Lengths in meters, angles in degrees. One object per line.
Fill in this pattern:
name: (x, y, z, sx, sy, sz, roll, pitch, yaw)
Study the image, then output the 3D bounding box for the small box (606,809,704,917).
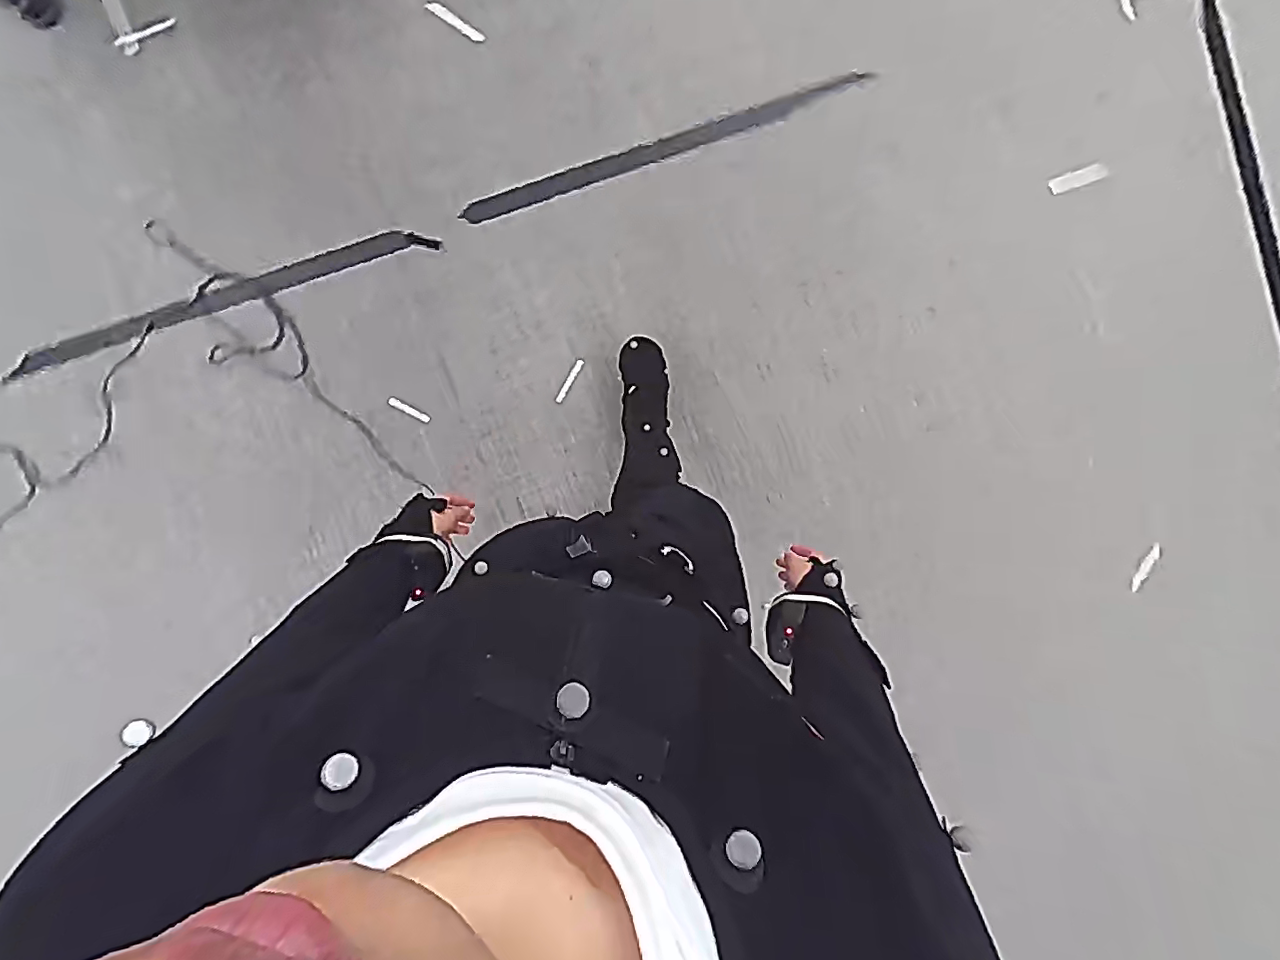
small box: (0.032, 0.855, 1.154, 0.168, 0.176, 0.179, -18, 95, -2)

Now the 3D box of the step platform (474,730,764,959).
step platform: (-0.049, 0.886, 1.327, 0.684, 0.204, 0.286, -20, 95, -2)

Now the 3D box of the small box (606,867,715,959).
small box: (0.043, 0.870, 0.991, 0.168, 0.176, 0.179, -19, 95, -1)
